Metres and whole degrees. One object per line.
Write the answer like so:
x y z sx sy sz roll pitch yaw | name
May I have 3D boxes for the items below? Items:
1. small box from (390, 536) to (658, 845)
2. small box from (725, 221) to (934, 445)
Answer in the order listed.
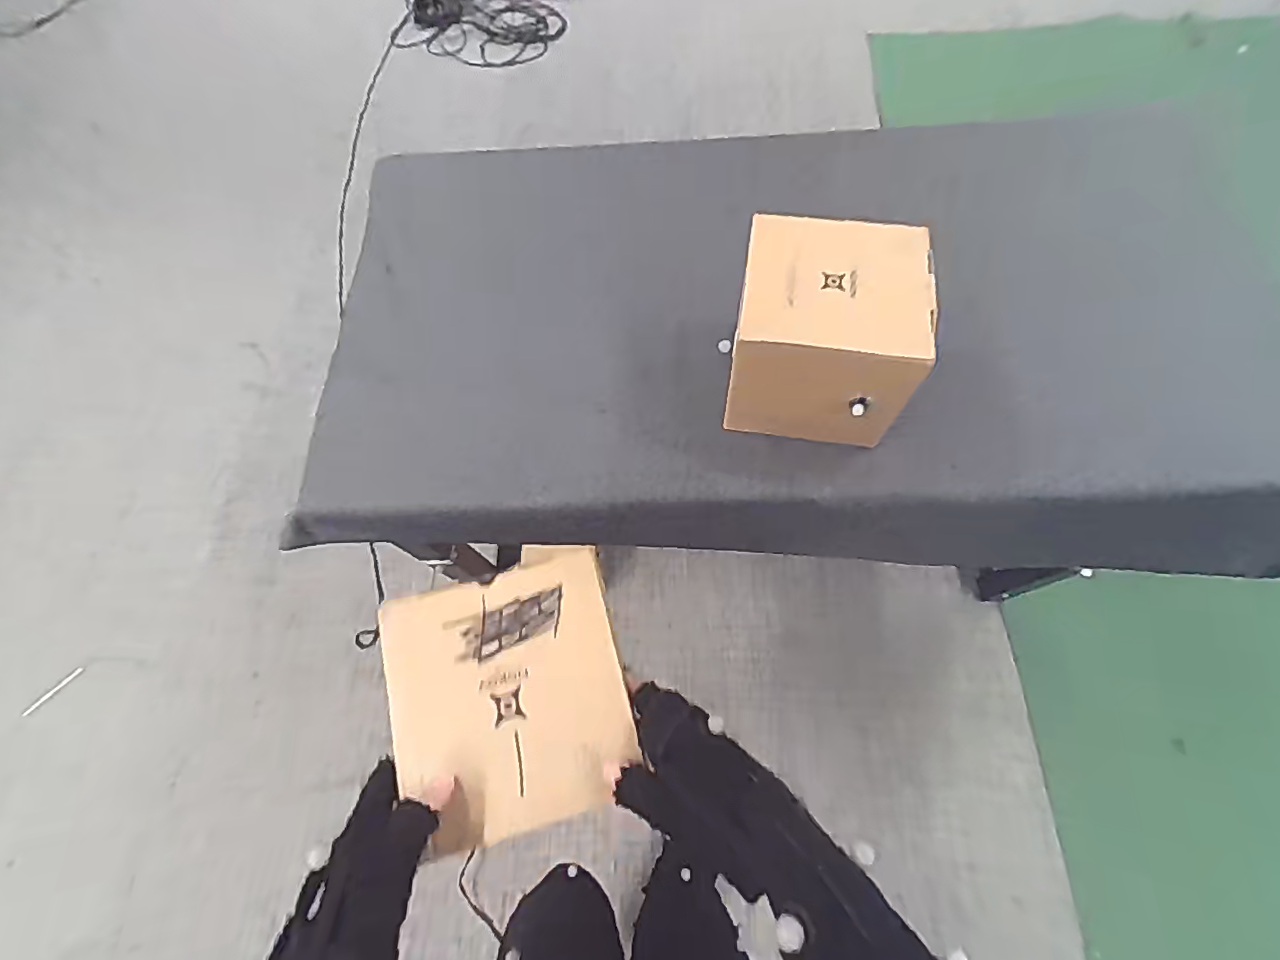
-0.089 0.167 0.456 0.168 0.176 0.179 -14 70 -6 | small box
0.195 -0.153 0.597 0.179 0.176 0.168 7 65 7 | small box
